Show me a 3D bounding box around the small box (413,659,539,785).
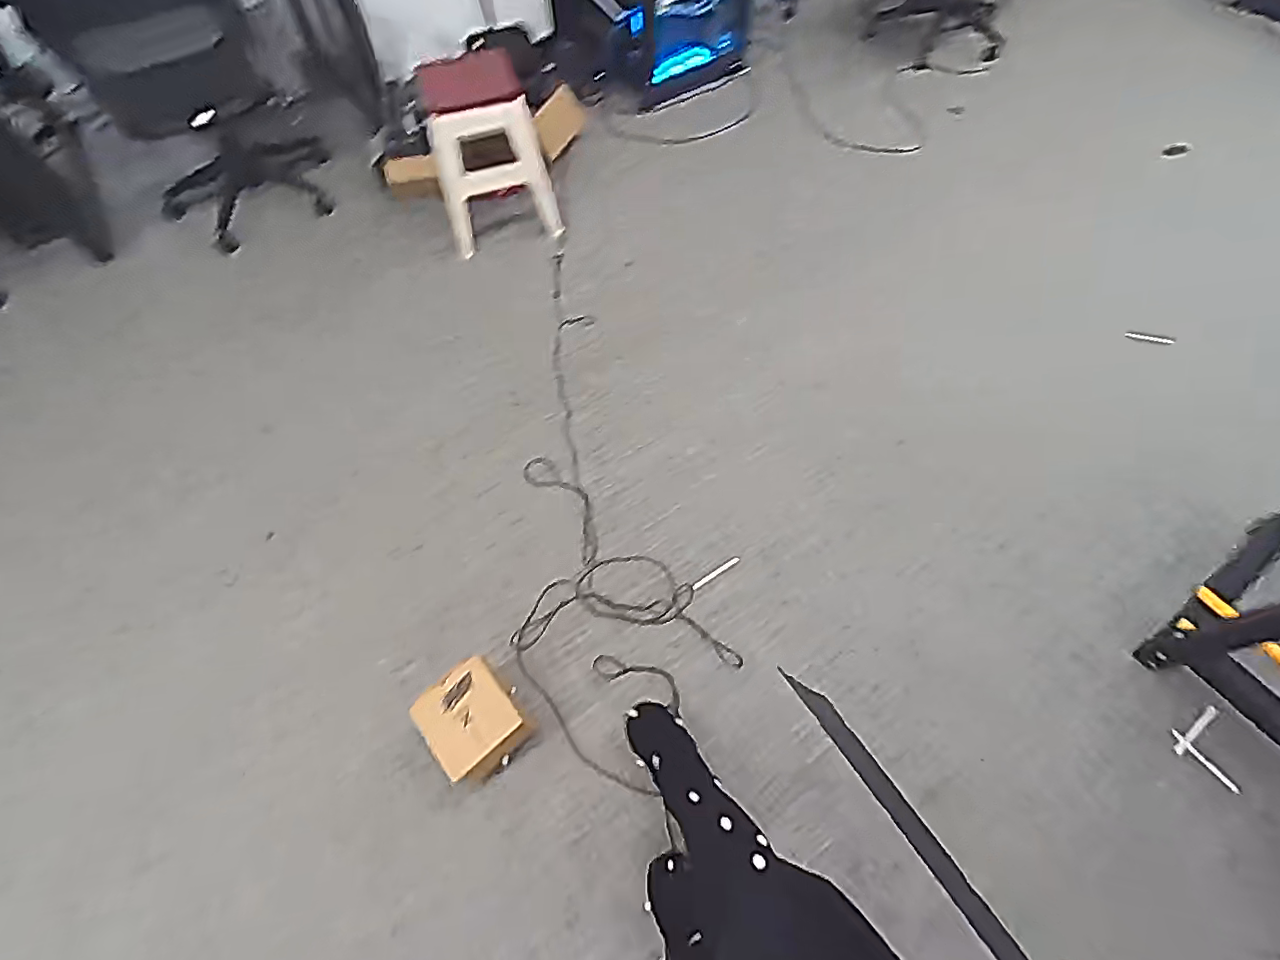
[{"bbox_3d":[-0.339,0.515,1.142,0.168,0.176,0.179,-39,67,-17],"label":"small box"}]
